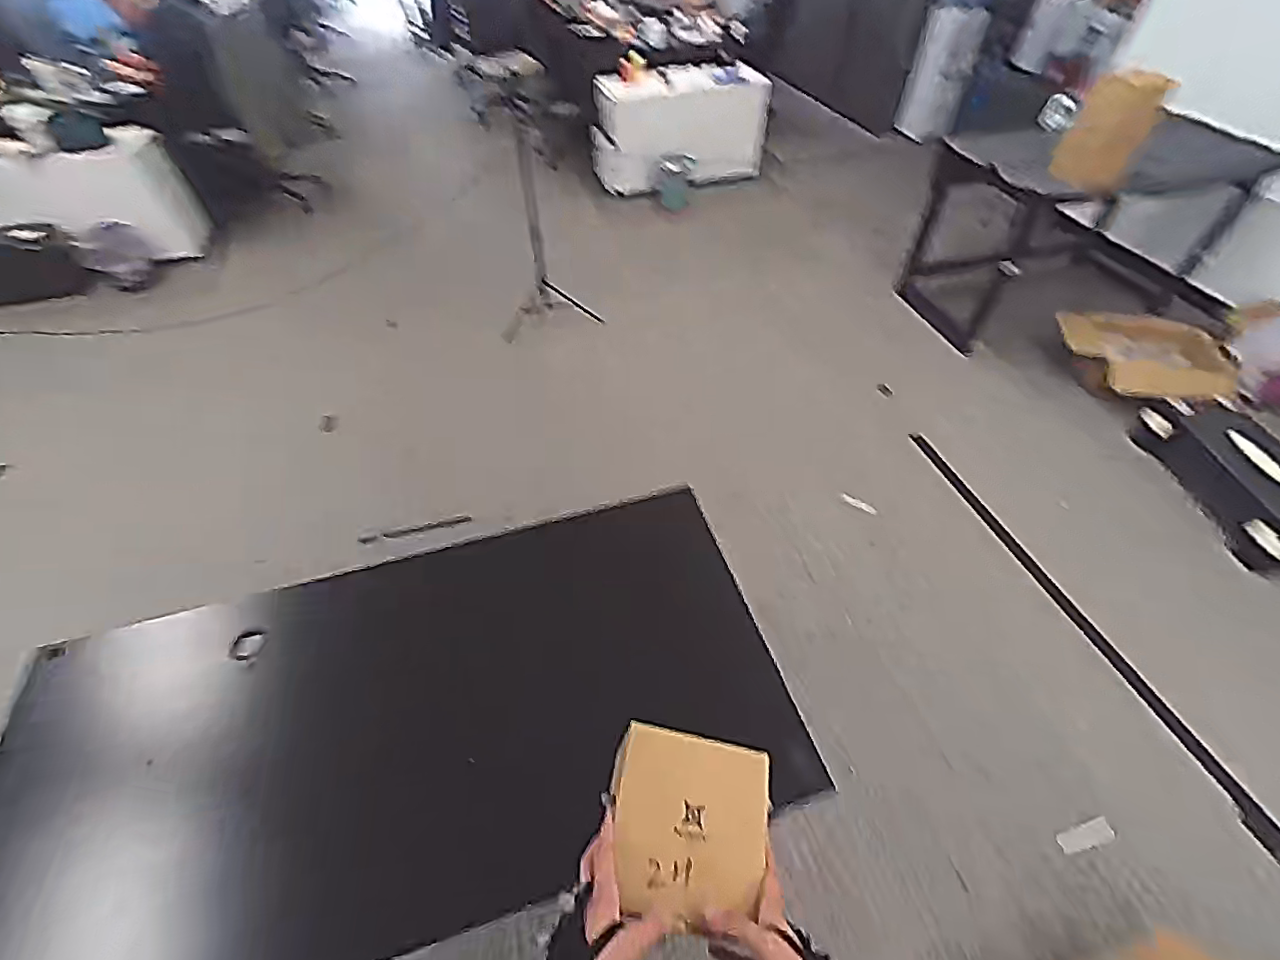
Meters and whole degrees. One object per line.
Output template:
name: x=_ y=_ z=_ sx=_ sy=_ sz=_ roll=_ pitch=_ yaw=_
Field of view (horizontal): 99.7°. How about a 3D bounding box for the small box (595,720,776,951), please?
small box: x=0.048 y=0.409 z=0.628 sx=0.168 sy=0.176 sz=0.179 roll=14 pitch=51 yaw=2
